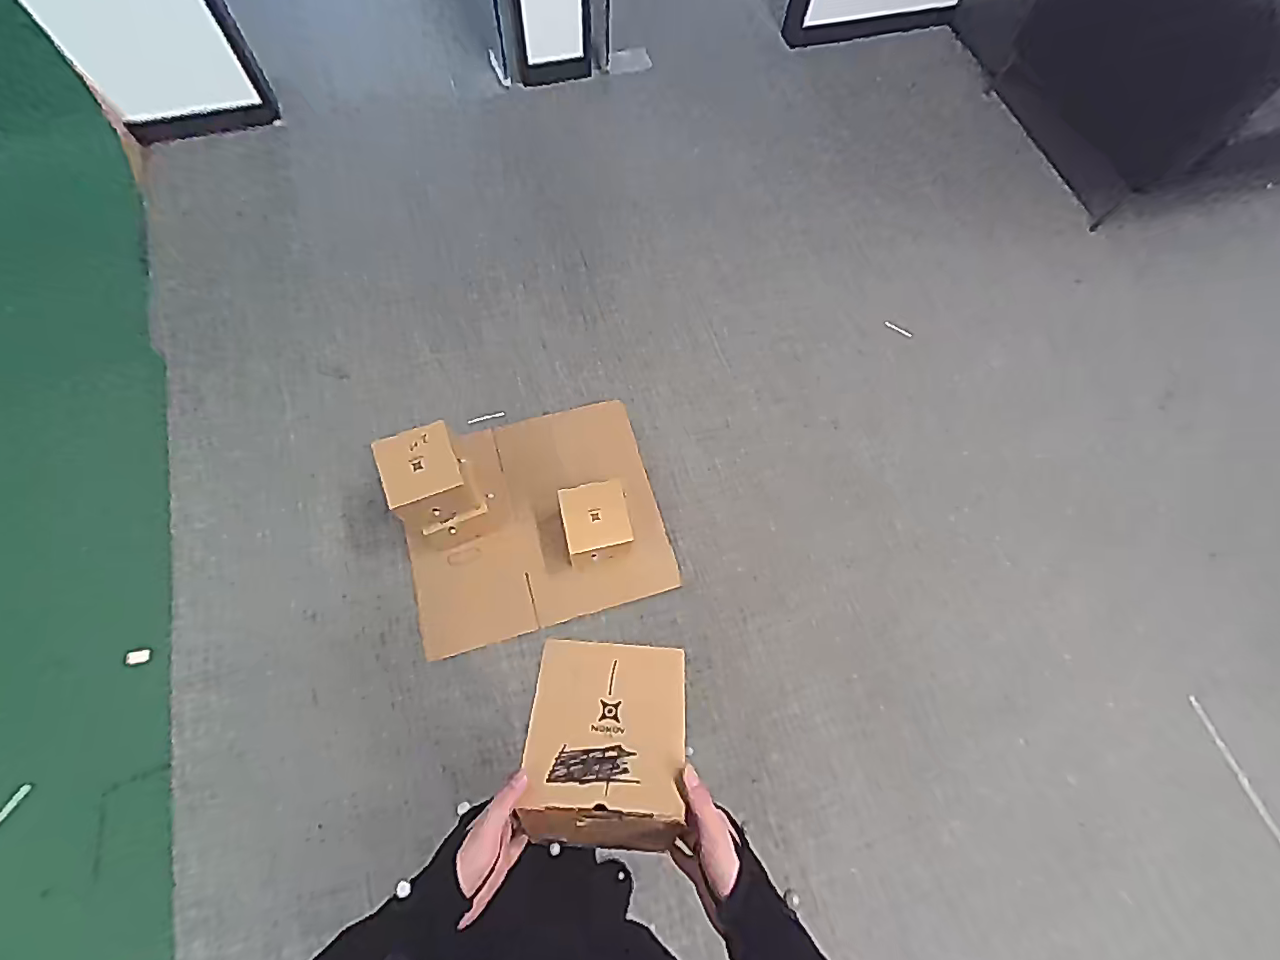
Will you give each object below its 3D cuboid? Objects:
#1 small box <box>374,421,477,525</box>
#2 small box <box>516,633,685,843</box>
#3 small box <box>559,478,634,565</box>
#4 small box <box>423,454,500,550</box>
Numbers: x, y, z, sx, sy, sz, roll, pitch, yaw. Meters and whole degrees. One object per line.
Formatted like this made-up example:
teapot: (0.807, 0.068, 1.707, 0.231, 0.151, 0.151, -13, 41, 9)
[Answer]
small box: (-0.500, -0.007, 1.282, 0.168, 0.176, 0.179, -20, 70, -12)
small box: (-0.035, 0.301, 0.628, 0.168, 0.176, 0.179, 3, 44, 0)
small box: (-0.114, 0.119, 1.434, 0.168, 0.176, 0.179, -12, 69, -8)
small box: (-0.487, 0.062, 1.434, 0.168, 0.176, 0.179, -21, 71, -12)
